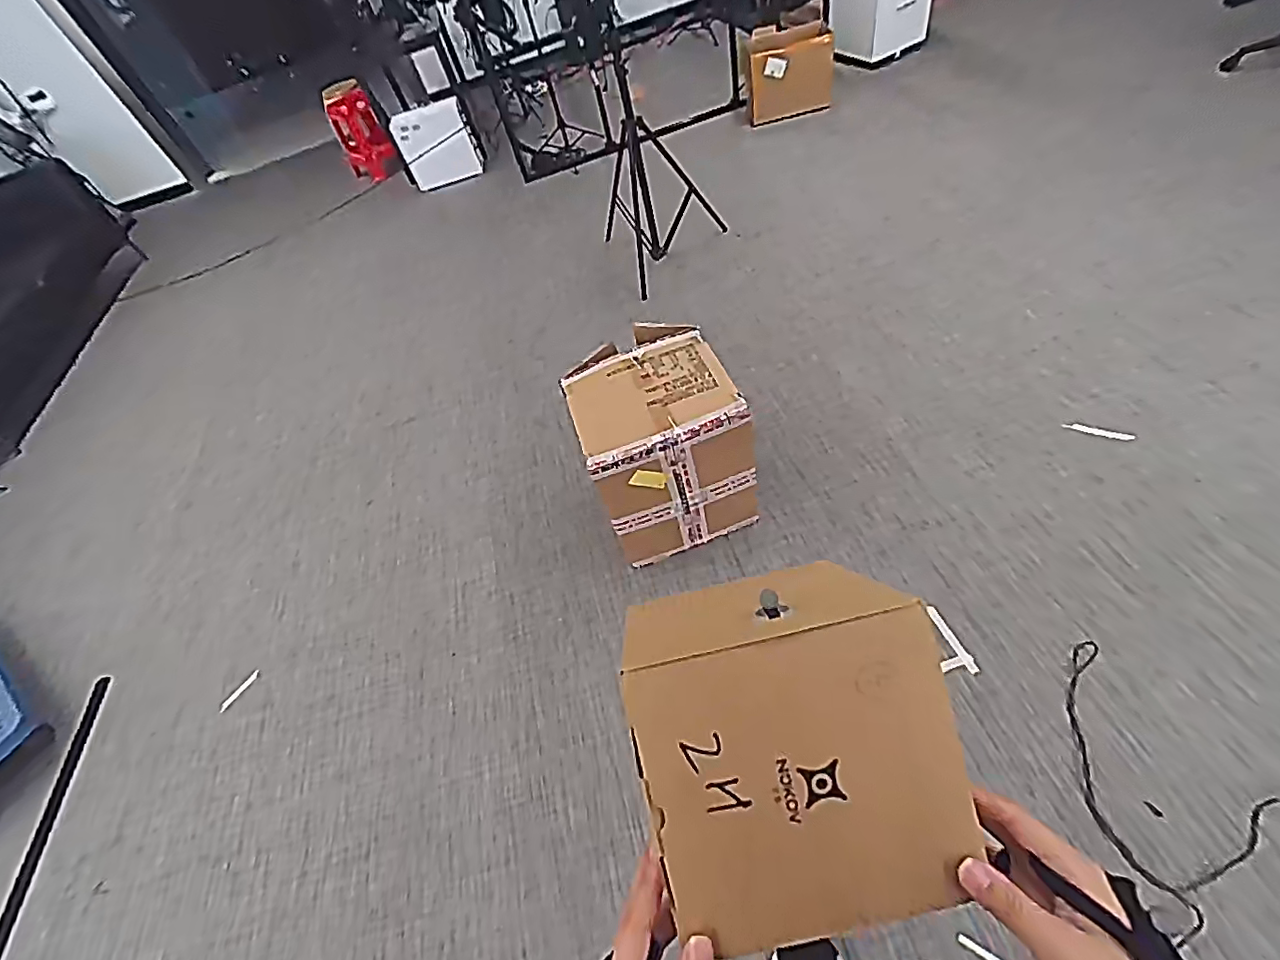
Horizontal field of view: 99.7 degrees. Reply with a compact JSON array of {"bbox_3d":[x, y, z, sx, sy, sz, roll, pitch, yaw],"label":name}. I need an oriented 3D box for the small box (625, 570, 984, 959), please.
[{"bbox_3d":[0.092,0.169,0.382,0.179,0.176,0.168,-13,89,1],"label":"small box"}]
